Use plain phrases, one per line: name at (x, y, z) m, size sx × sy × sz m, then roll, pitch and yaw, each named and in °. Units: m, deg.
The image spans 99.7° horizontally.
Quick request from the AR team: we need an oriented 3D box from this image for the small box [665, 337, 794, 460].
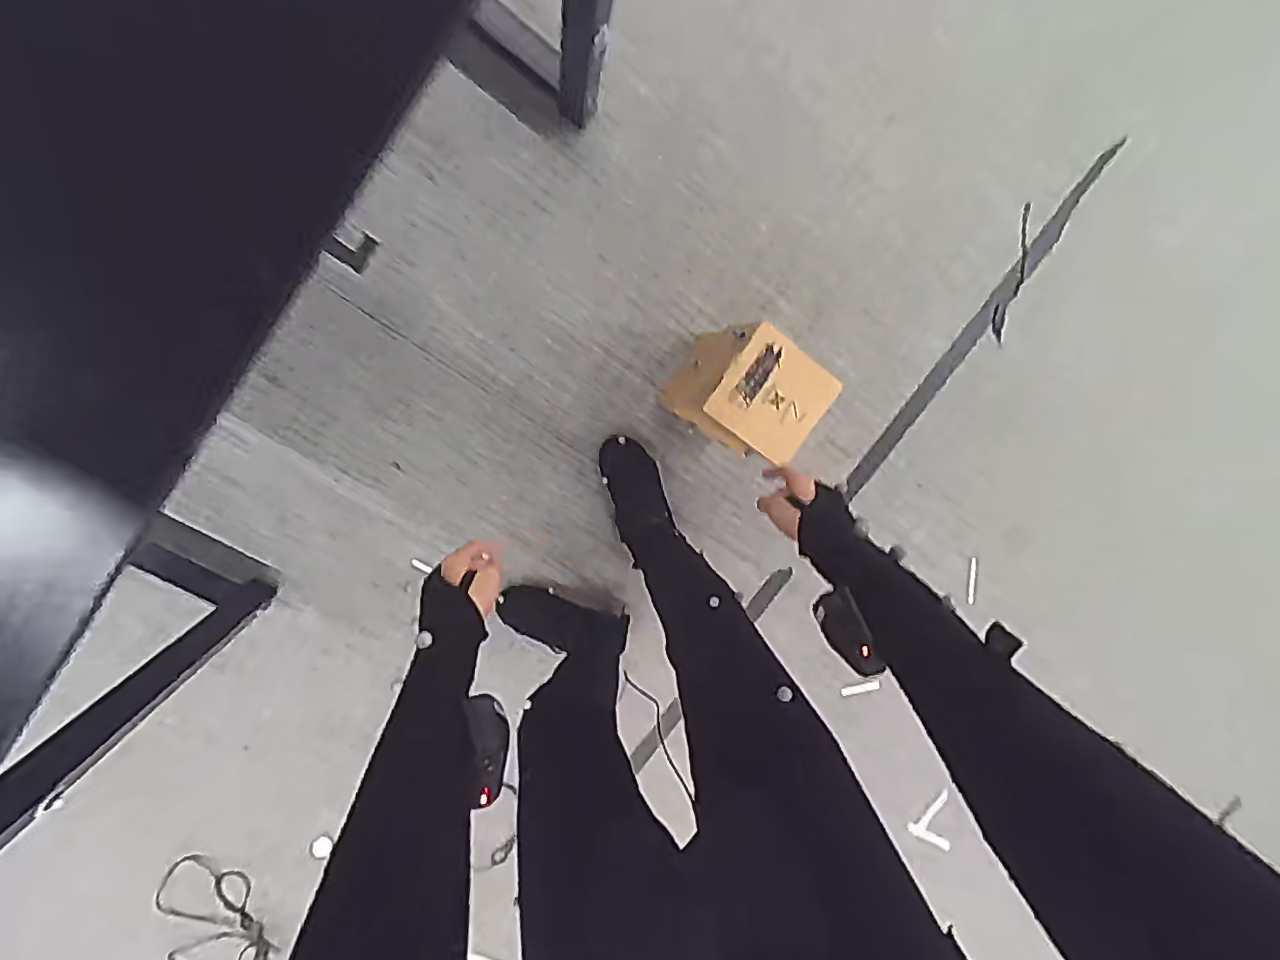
small box at (0.167, -0.167, 1.084) m, size 0.168 × 0.176 × 0.179 m, roll 32°, pitch 96°, yaw -14°
